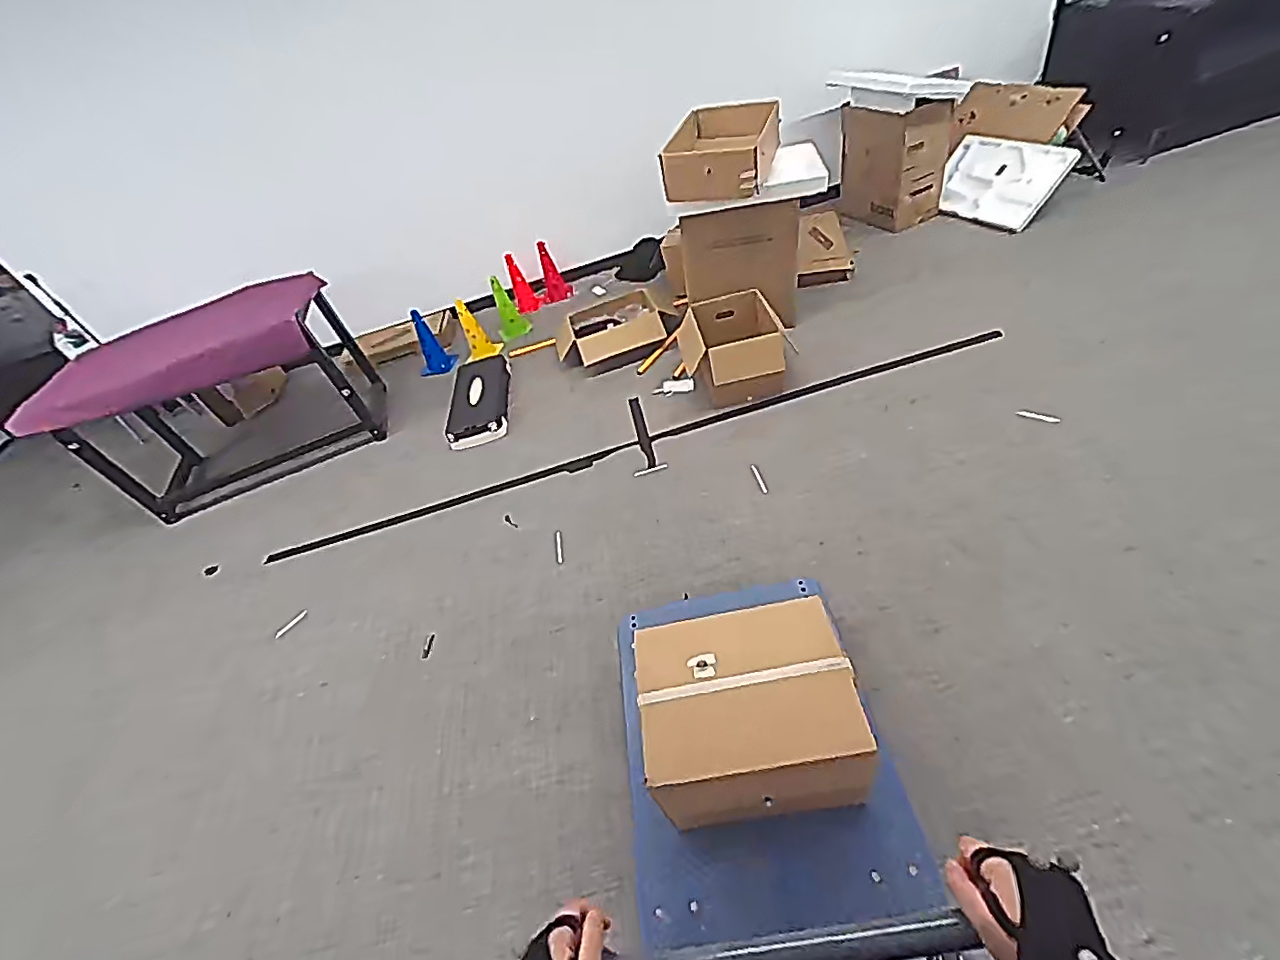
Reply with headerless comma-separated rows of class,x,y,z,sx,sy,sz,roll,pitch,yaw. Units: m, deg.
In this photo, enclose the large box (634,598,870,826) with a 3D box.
large box,0.228,0.501,1.156,0.408,0.320,0.320,-13,42,6
